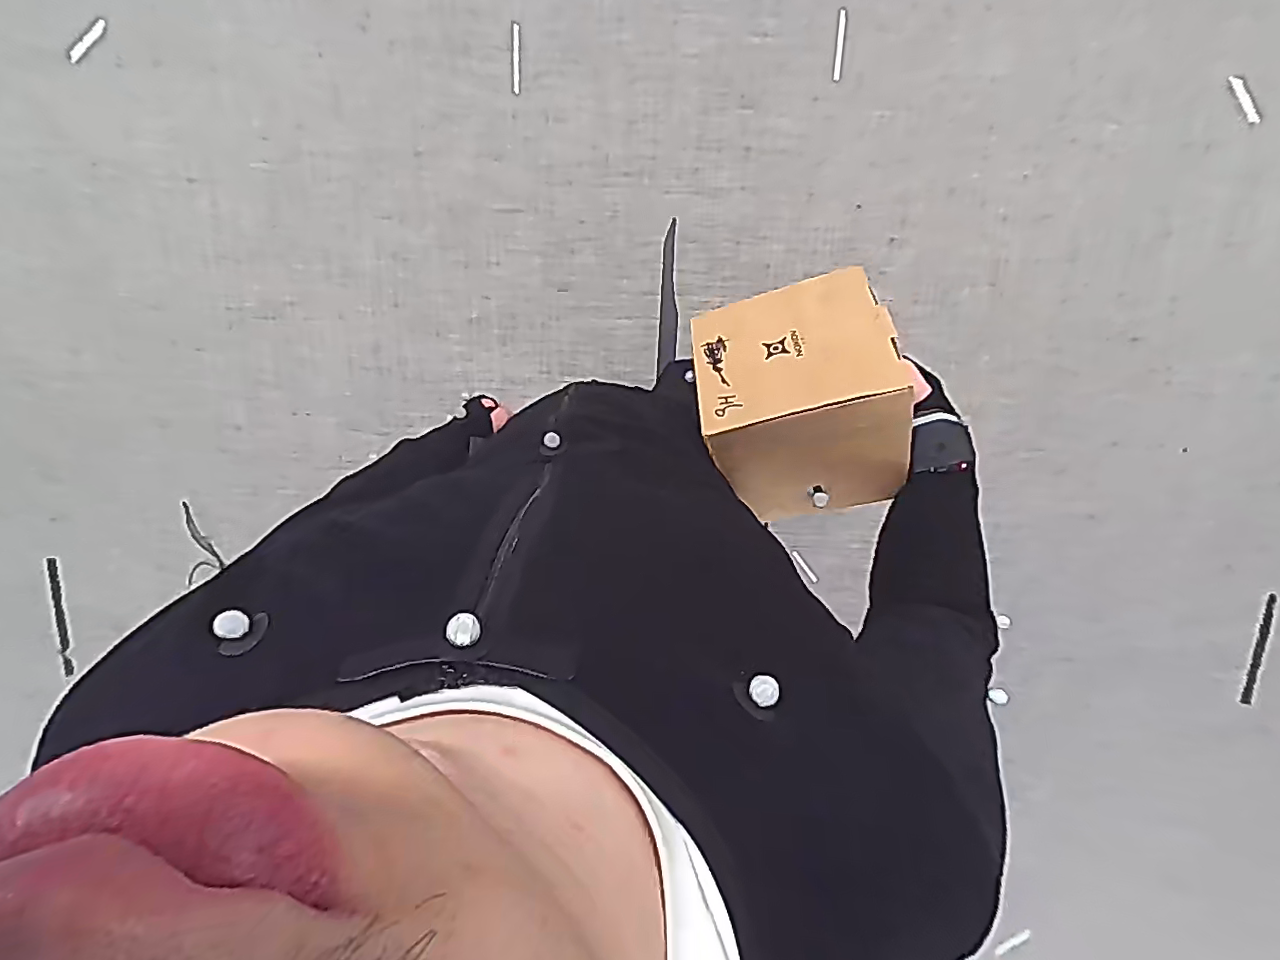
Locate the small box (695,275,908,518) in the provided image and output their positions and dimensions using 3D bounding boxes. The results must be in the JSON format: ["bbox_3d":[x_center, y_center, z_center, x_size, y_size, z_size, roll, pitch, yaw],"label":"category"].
[{"bbox_3d":[0.168,-0.080,0.580,0.179,0.168,0.176,-12,141,15],"label":"small box"}]
